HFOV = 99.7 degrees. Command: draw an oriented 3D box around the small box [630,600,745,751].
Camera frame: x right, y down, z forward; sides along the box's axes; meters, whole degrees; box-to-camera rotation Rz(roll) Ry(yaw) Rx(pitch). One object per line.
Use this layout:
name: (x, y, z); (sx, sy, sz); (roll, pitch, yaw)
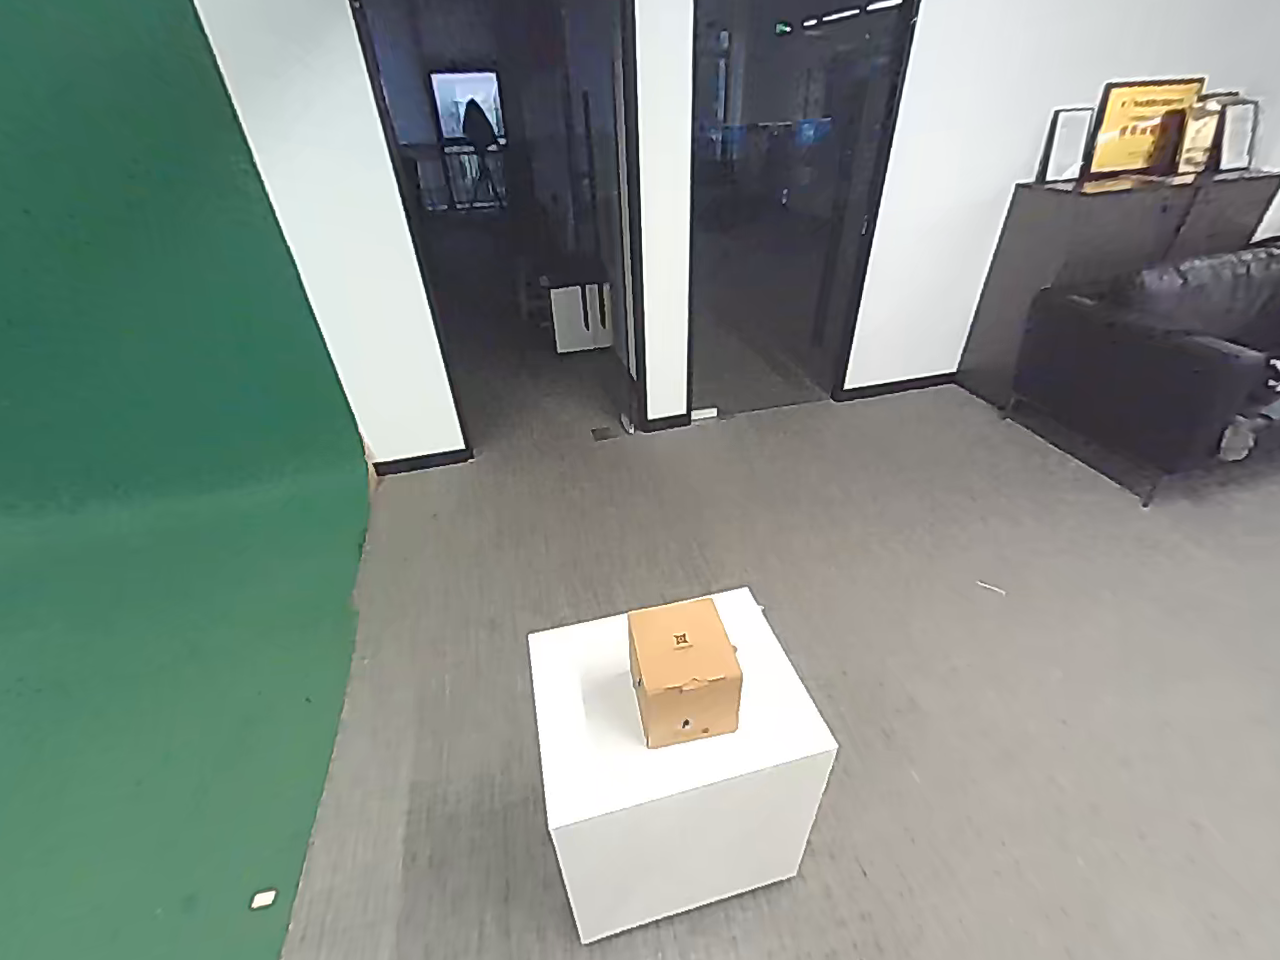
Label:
small box: (0.077, 0.347, 0.970); (0.168, 0.176, 0.179); (-8, 34, -8)
